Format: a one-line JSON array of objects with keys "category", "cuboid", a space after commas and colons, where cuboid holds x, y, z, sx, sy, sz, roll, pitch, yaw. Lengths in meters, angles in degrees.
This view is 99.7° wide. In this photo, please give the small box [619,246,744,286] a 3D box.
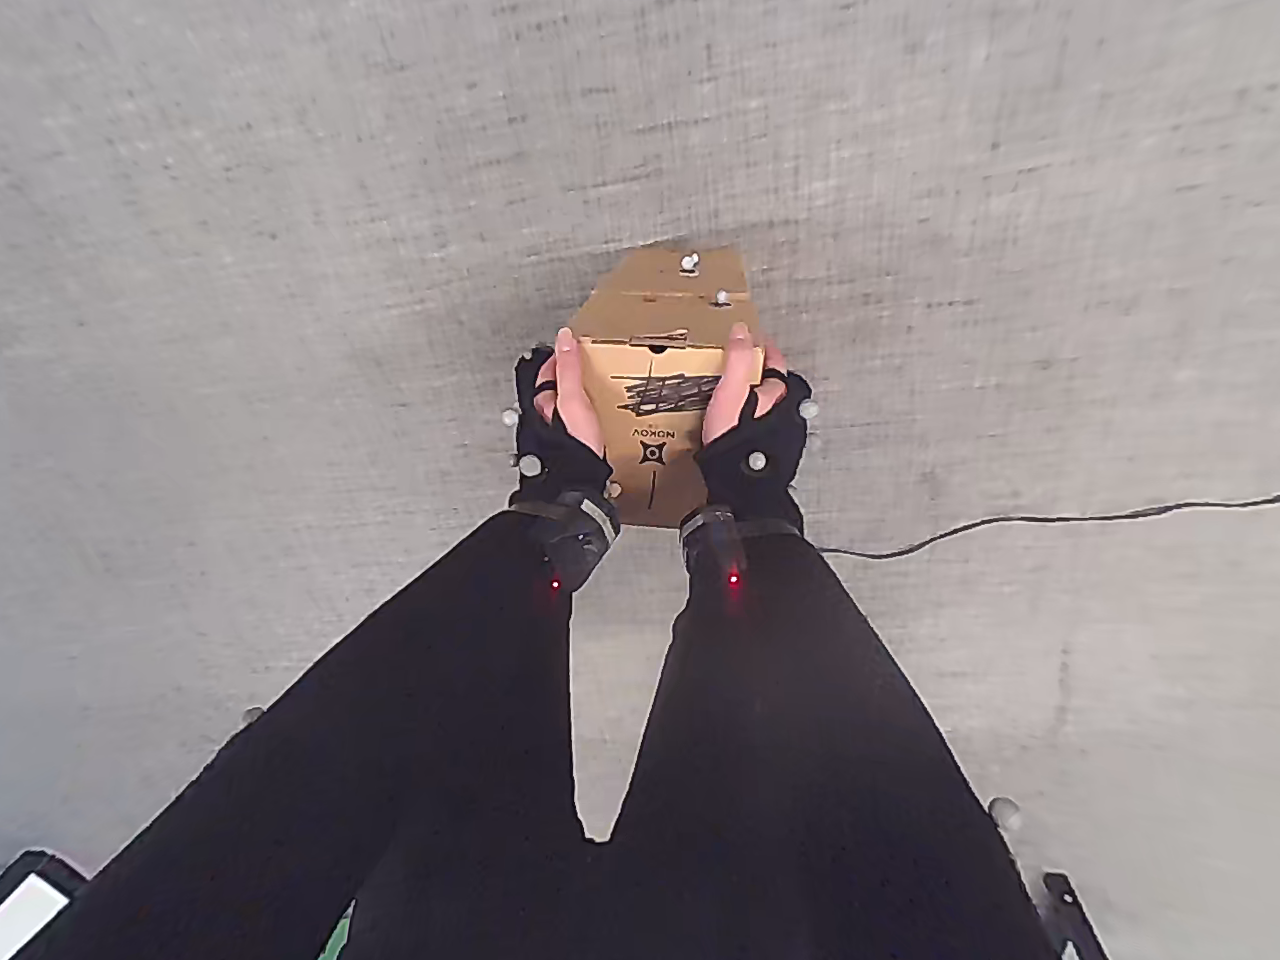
[{"category": "small box", "cuboid": [0.064, -0.238, 0.801, 0.168, 0.176, 0.179, 5, 121, 7]}]

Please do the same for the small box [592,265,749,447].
[{"category": "small box", "cuboid": [0.042, -0.157, 0.663, 0.168, 0.176, 0.179, 3, 119, 7]}]
